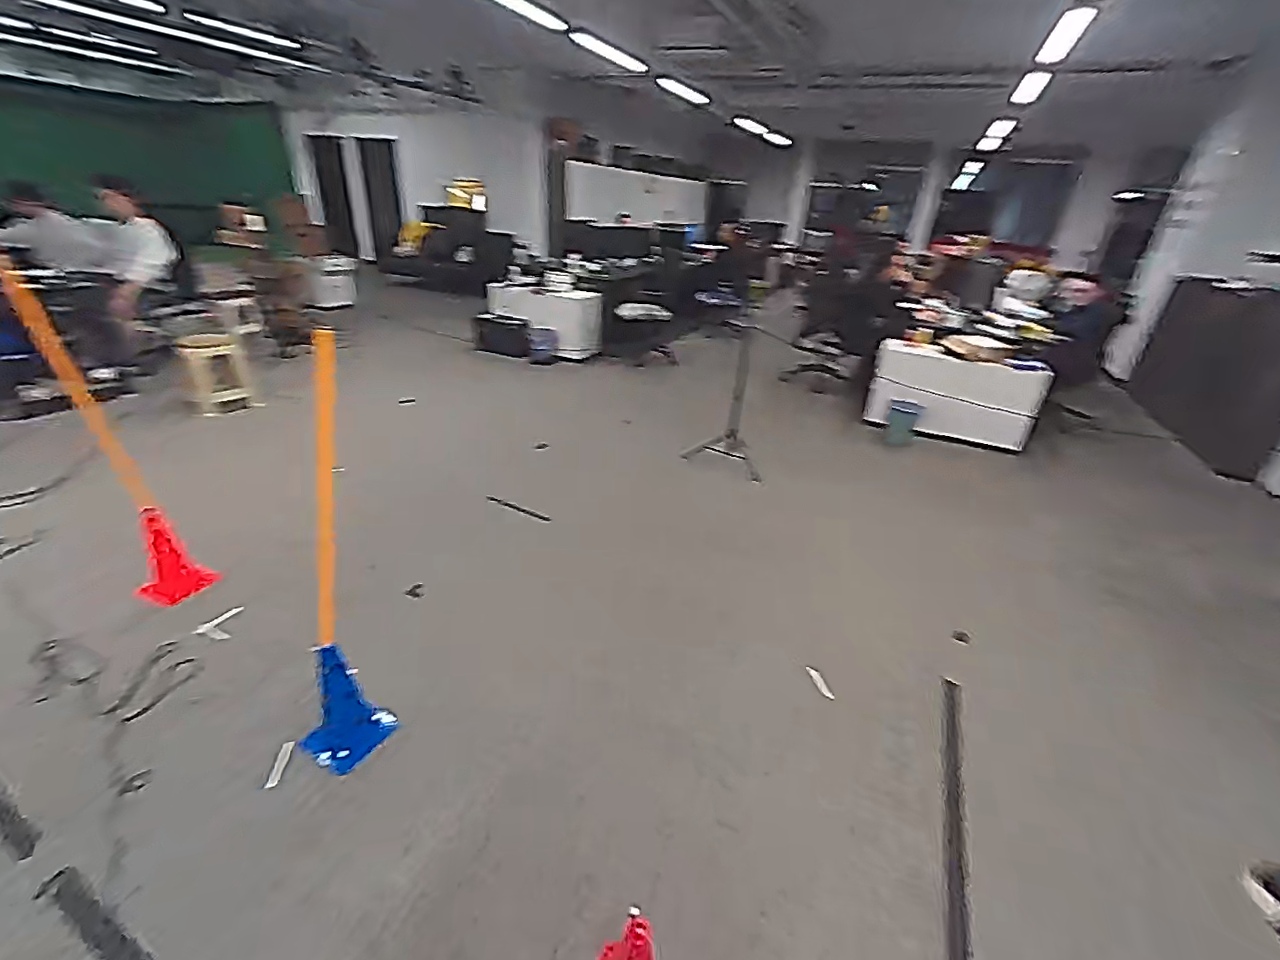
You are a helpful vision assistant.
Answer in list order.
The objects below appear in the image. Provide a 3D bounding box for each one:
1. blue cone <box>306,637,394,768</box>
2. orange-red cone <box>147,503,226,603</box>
[{"bbox_3d":[-0.840,0.598,1.517,0.192,0.380,0.193,17,30,26],"label":"blue cone"},{"bbox_3d":[-1.760,0.250,2.033,0.198,0.360,0.199,14,30,19],"label":"orange-red cone"}]
